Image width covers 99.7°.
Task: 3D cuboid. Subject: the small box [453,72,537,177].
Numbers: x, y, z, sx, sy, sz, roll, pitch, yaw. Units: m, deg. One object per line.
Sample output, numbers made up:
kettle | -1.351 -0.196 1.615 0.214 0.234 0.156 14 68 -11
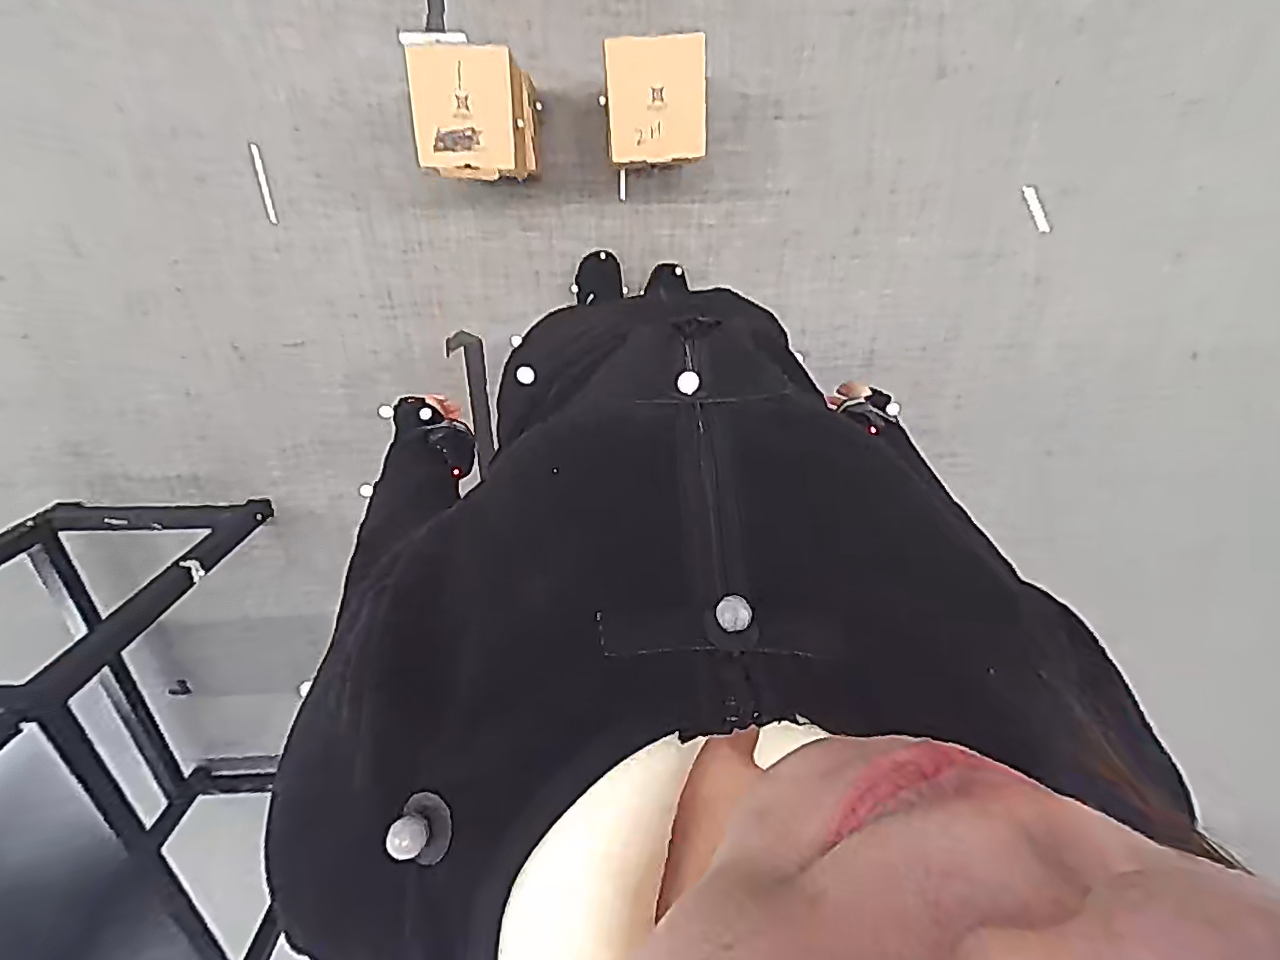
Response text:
small box | -0.307 -0.720 1.106 0.179 0.176 0.168 -2 116 -3

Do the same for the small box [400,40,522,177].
small box | -0.305 -0.645 0.960 0.168 0.176 0.179 0 115 -5

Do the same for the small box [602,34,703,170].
small box | 0.019 -0.666 0.970 0.168 0.176 0.179 -4 117 -1
